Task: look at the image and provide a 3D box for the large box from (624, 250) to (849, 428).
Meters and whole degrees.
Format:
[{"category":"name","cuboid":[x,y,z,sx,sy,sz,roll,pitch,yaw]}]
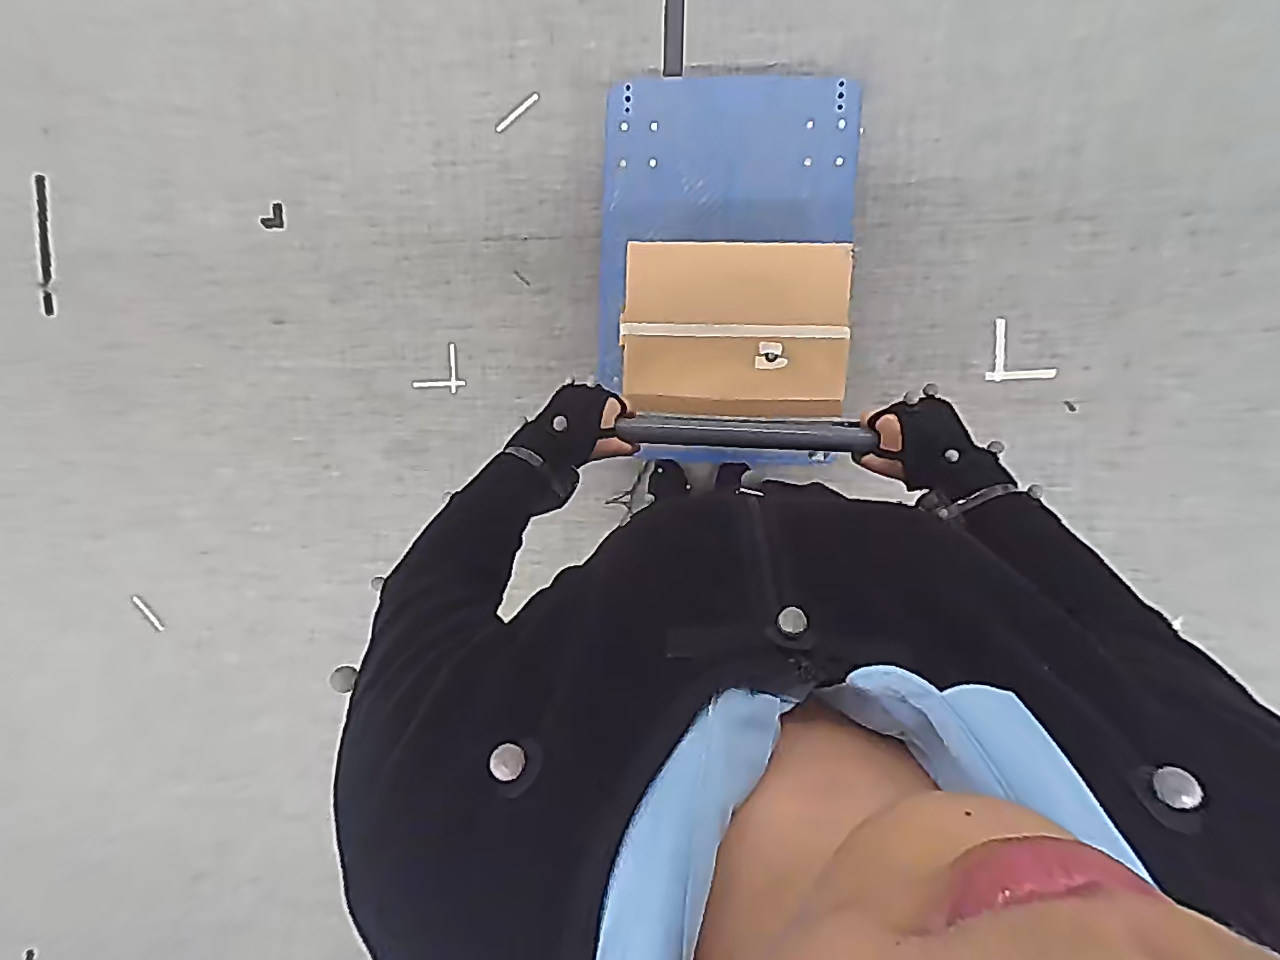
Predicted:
[{"category":"large box","cuboid":[0.179,-0.269,1.129,0.408,0.320,0.320,2,96,4]}]
